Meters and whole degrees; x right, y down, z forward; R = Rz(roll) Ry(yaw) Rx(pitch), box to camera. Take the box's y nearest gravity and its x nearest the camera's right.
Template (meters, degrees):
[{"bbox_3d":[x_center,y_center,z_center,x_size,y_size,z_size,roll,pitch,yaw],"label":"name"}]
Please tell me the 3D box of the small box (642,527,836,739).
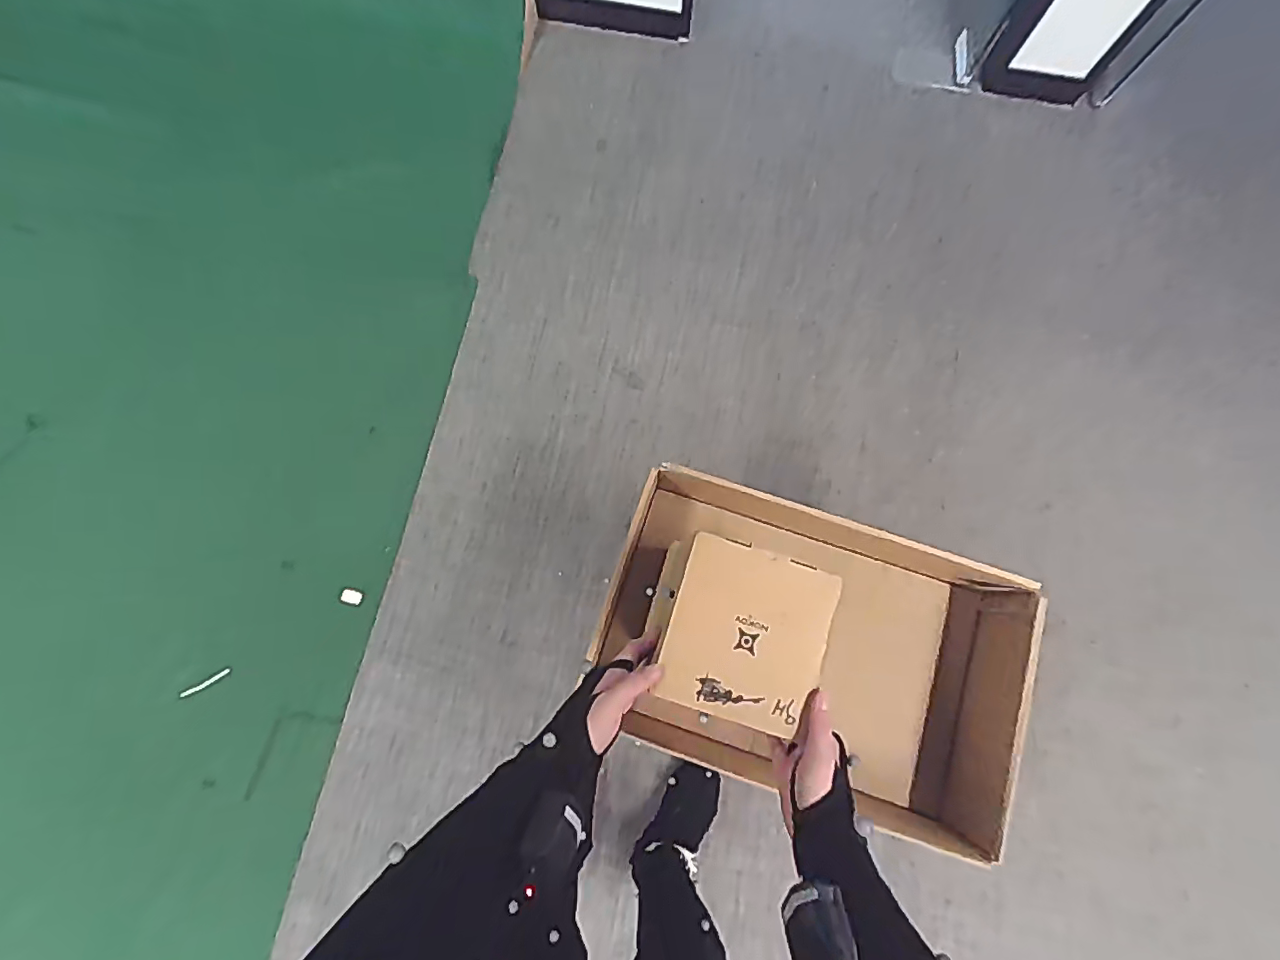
[{"bbox_3d":[0.103,0.171,0.638,0.168,0.176,0.179,18,78,2],"label":"small box"}]
